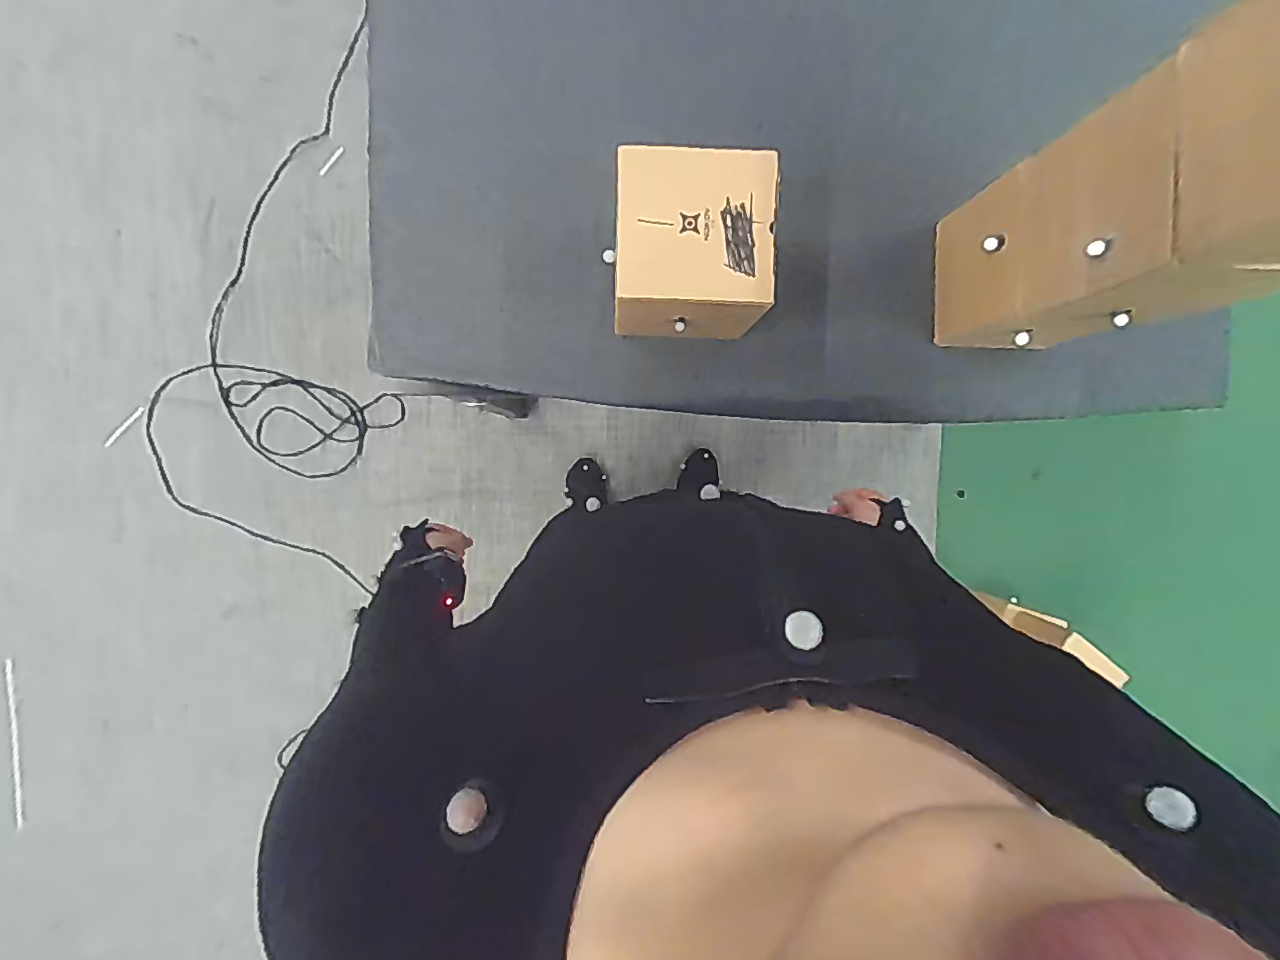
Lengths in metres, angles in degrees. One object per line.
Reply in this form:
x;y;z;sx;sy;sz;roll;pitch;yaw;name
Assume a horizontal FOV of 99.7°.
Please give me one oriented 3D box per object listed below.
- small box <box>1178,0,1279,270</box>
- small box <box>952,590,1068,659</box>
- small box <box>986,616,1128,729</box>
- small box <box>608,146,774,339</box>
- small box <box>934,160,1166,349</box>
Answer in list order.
0.509;-0.256;0.352;0.168;0.176;0.179;-3;91;-2;small box
0.992;0.412;1.467;0.179;0.176;0.168;17;92;-4;small box
0.992;0.452;1.306;0.179;0.176;0.168;38;92;-4;small box
0.052;-0.273;0.659;0.179;0.176;0.168;2;92;-2;small box
0.497;-0.267;0.680;0.168;0.176;0.179;1;91;-3;small box
